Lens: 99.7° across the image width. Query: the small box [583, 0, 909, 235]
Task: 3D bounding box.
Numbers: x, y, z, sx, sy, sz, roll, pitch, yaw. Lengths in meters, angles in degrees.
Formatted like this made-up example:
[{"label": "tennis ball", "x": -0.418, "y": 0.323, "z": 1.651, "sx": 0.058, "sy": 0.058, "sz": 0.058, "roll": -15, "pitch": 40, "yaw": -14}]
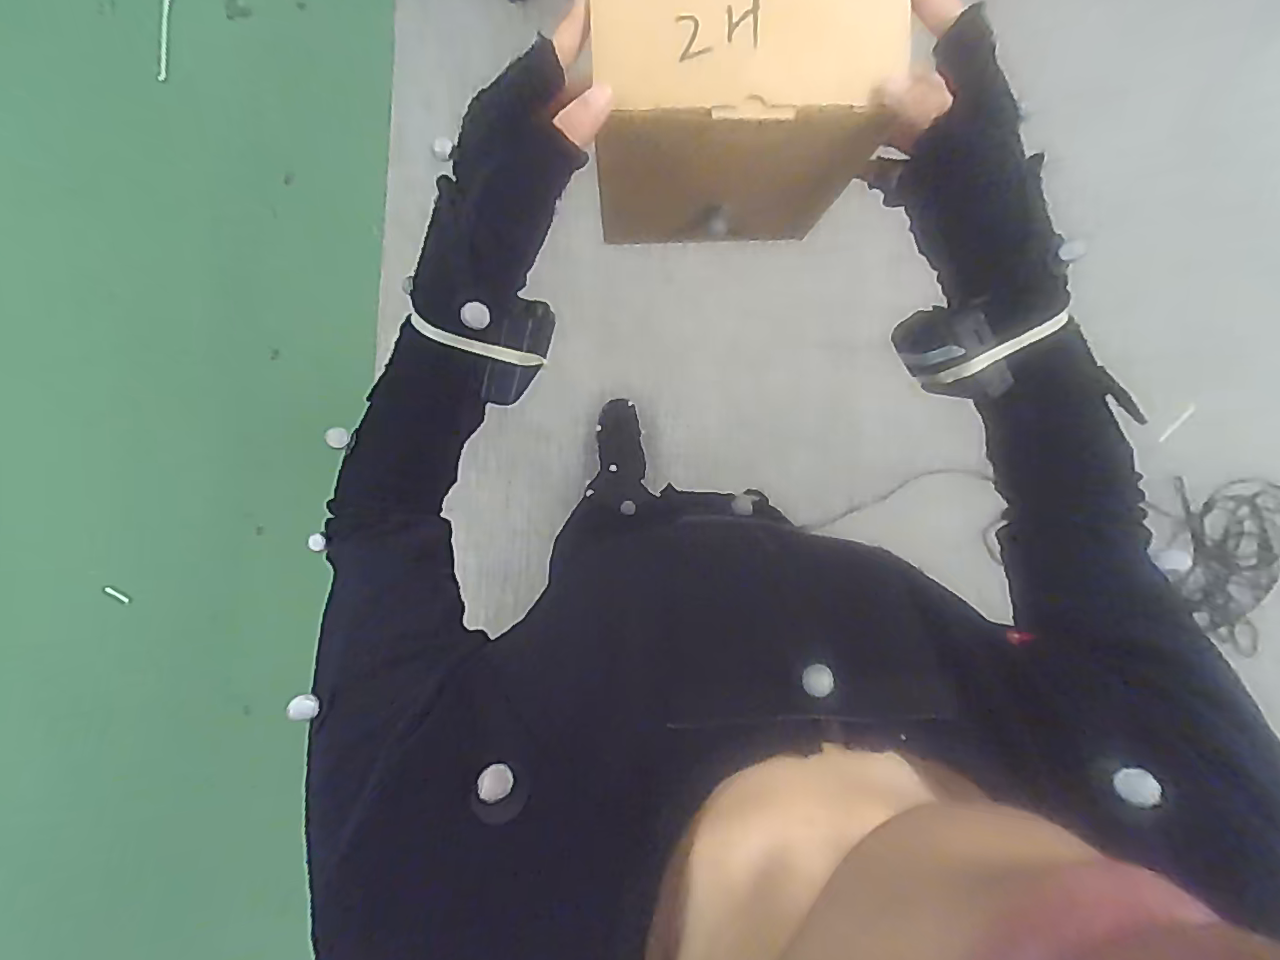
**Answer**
[{"label": "small box", "x": 0.050, "y": -0.284, "z": 0.350, "sx": 0.168, "sy": 0.176, "sz": 0.179, "roll": -2, "pitch": 90, "yaw": -1}]
